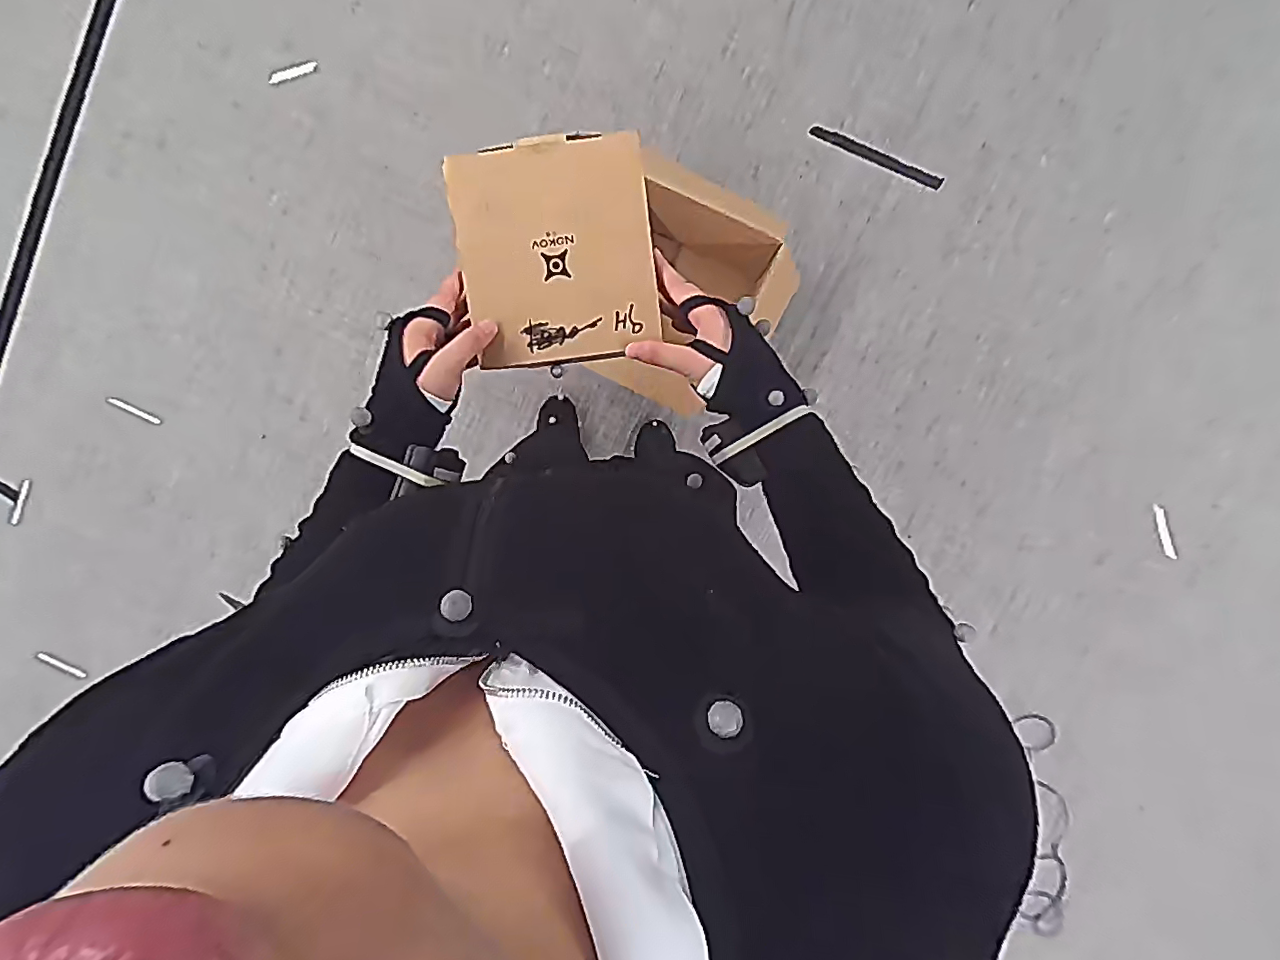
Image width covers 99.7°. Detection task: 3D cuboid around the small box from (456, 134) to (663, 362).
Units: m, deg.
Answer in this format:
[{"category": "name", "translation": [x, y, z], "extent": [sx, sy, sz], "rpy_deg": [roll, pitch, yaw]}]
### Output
[{"category": "small box", "translation": [-0.068, -0.215, 0.547], "extent": [0.168, 0.176, 0.179], "rpy_deg": [-5, 103, 2]}]
